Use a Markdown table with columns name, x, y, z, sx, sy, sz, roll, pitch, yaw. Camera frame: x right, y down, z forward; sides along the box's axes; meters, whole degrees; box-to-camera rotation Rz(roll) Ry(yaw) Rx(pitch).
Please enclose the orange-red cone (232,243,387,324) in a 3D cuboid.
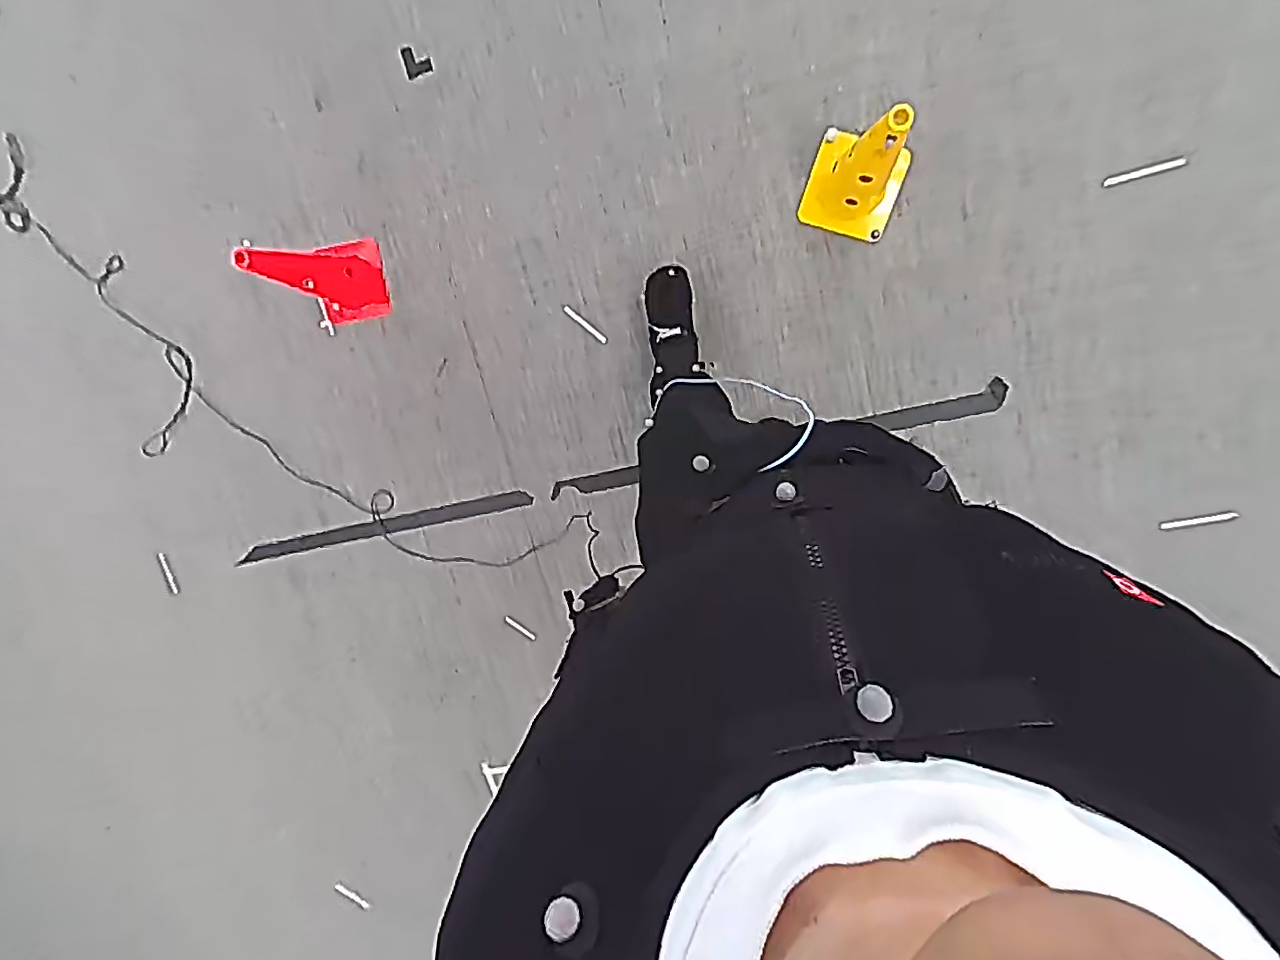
| name | x | y | z | sx | sy | sz | roll | pitch | yaw |
| --- | --- | --- | --- | --- | --- | --- | --- | --- | --- |
| orange-red cone | -0.814 | -0.496 | 1.303 | 0.199 | 0.360 | 0.198 | -5 | 101 | 9 |
